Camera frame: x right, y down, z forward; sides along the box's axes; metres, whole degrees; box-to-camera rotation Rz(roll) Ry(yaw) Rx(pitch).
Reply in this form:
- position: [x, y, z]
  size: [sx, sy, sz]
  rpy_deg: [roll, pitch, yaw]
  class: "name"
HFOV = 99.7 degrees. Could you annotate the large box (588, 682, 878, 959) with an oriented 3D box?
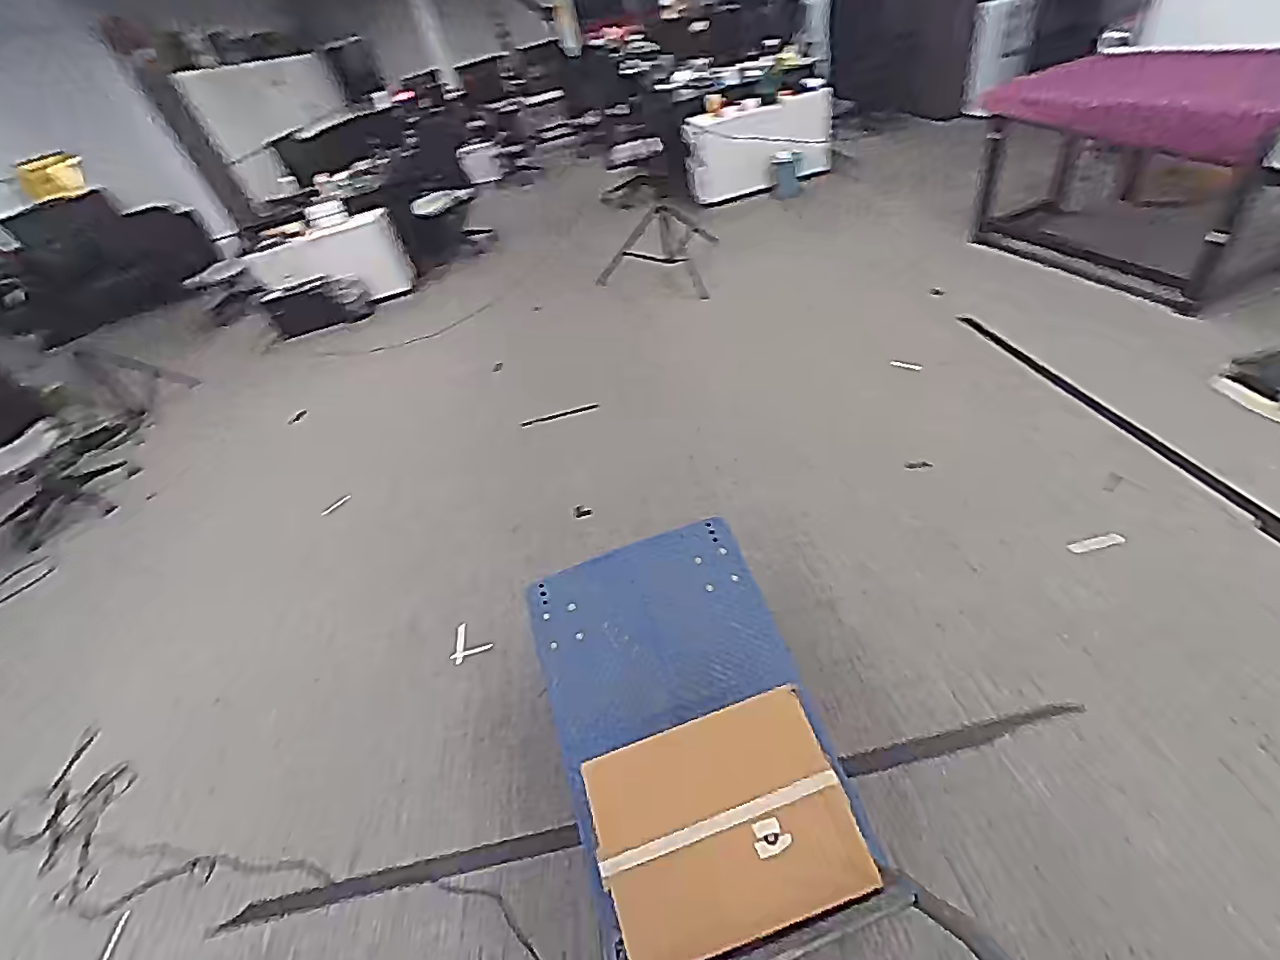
- position: [0.156, 0.636, 1.029]
  size: [0.408, 0.320, 0.320]
  rpy_deg: [-20, 60, -4]
  class: "large box"
